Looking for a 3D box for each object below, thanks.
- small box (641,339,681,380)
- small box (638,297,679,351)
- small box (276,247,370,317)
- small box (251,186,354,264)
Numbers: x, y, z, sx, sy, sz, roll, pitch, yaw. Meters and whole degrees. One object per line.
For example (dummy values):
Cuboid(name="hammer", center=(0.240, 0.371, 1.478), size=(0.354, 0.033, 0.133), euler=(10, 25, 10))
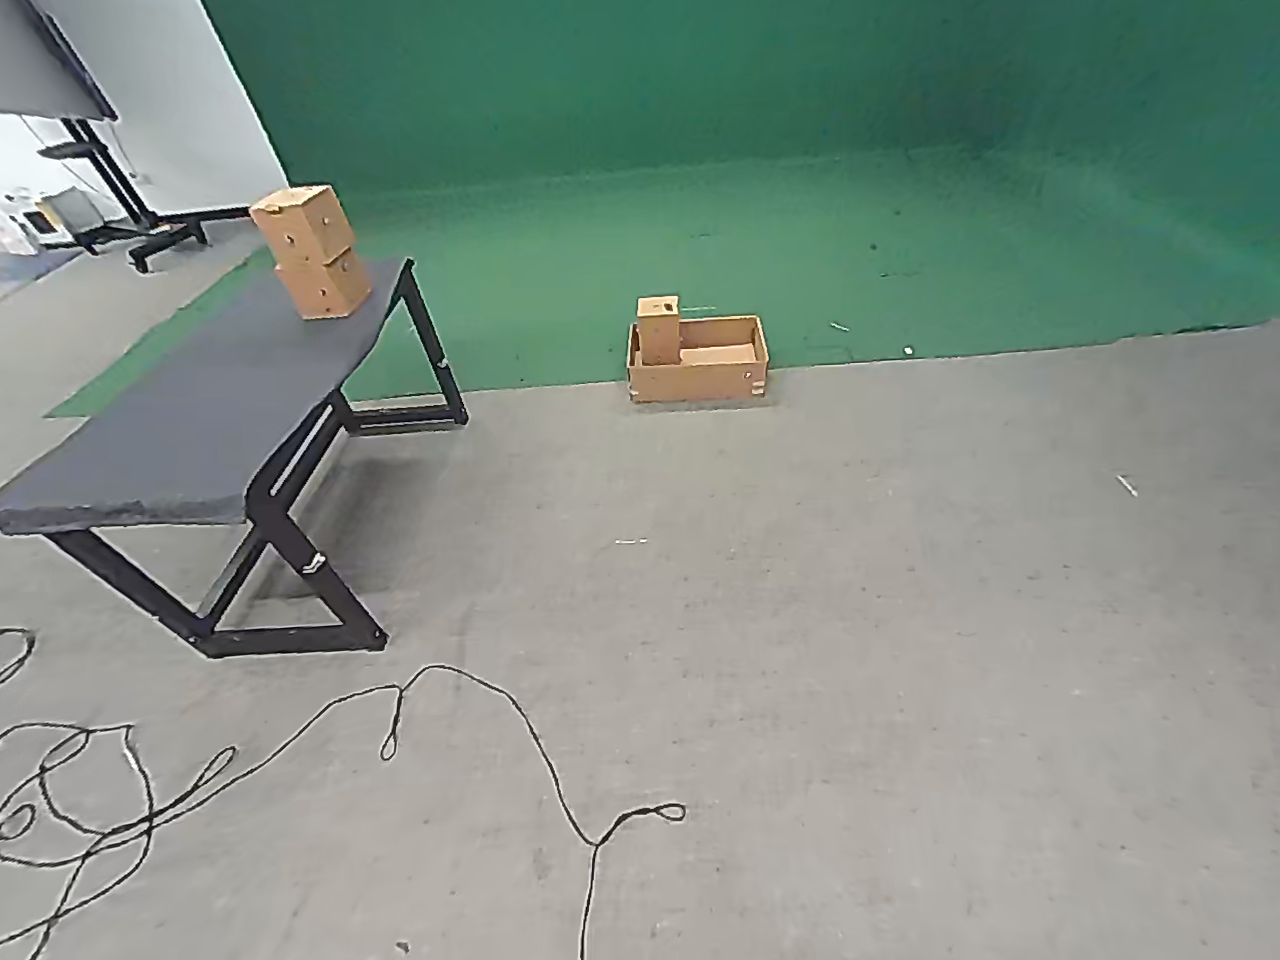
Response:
Cuboid(name="small box", center=(0.098, -0.574, 2.502), size=(0.179, 0.176, 0.168), euler=(-1, 46, 3))
Cuboid(name="small box", center=(0.085, -0.686, 2.383), size=(0.179, 0.176, 0.168), euler=(-2, 45, 5))
Cuboid(name="small box", center=(-0.997, -0.631, 1.721), size=(0.168, 0.176, 0.179), euler=(-1, 44, 6))
Cuboid(name="small box", center=(-0.994, -0.756, 1.613), size=(0.168, 0.176, 0.179), euler=(1, 46, 8))
